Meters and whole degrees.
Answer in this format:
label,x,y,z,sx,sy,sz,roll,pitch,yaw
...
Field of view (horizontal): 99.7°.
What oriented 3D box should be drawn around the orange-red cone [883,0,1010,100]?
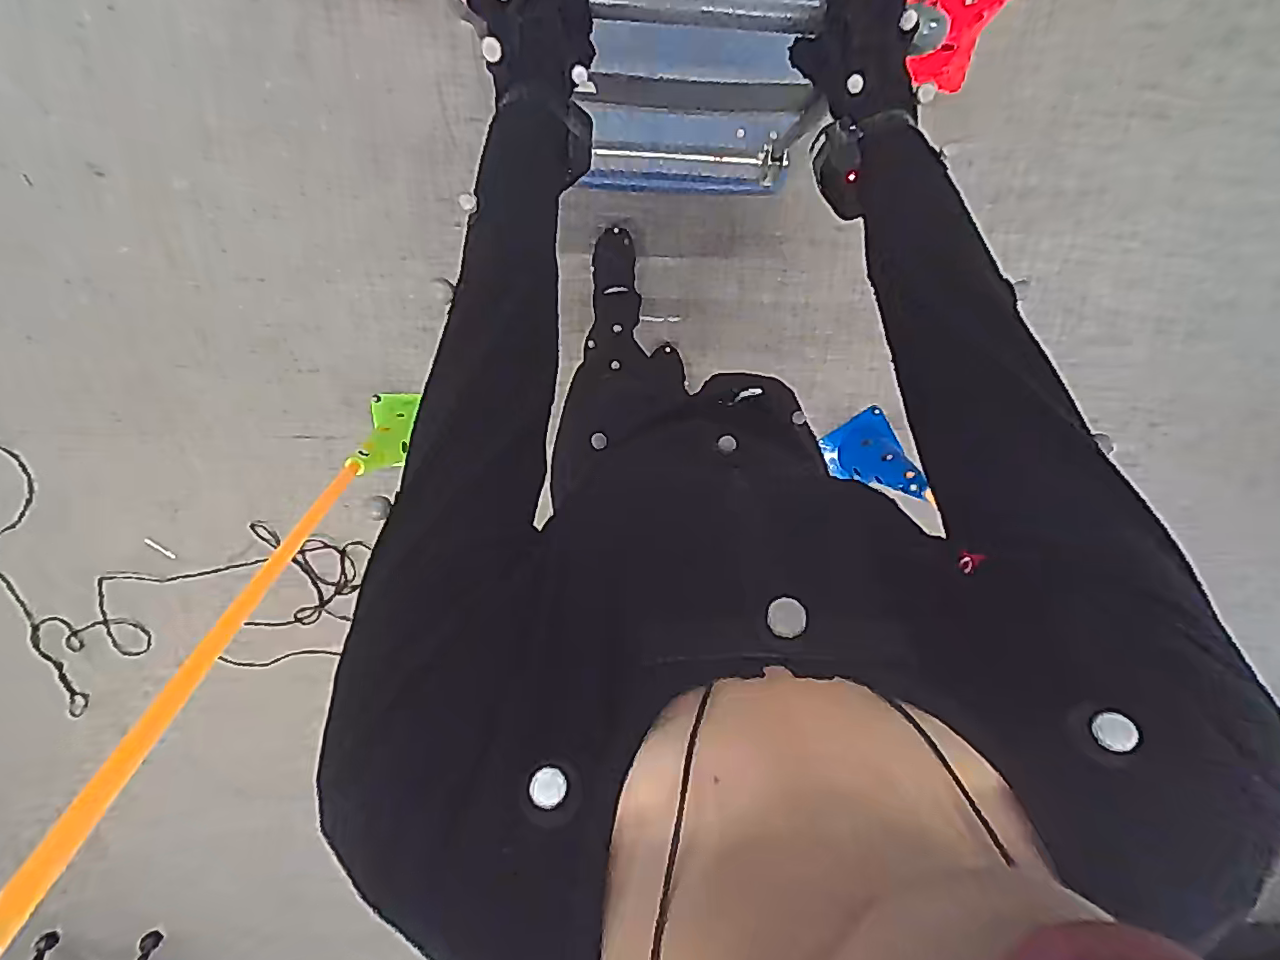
label,x,y,z,sx,sy,sz,roll,pitch,yaw
orange-red cone,0.680,-0.950,1.076,0.198,0.360,0.199,12,107,-5
